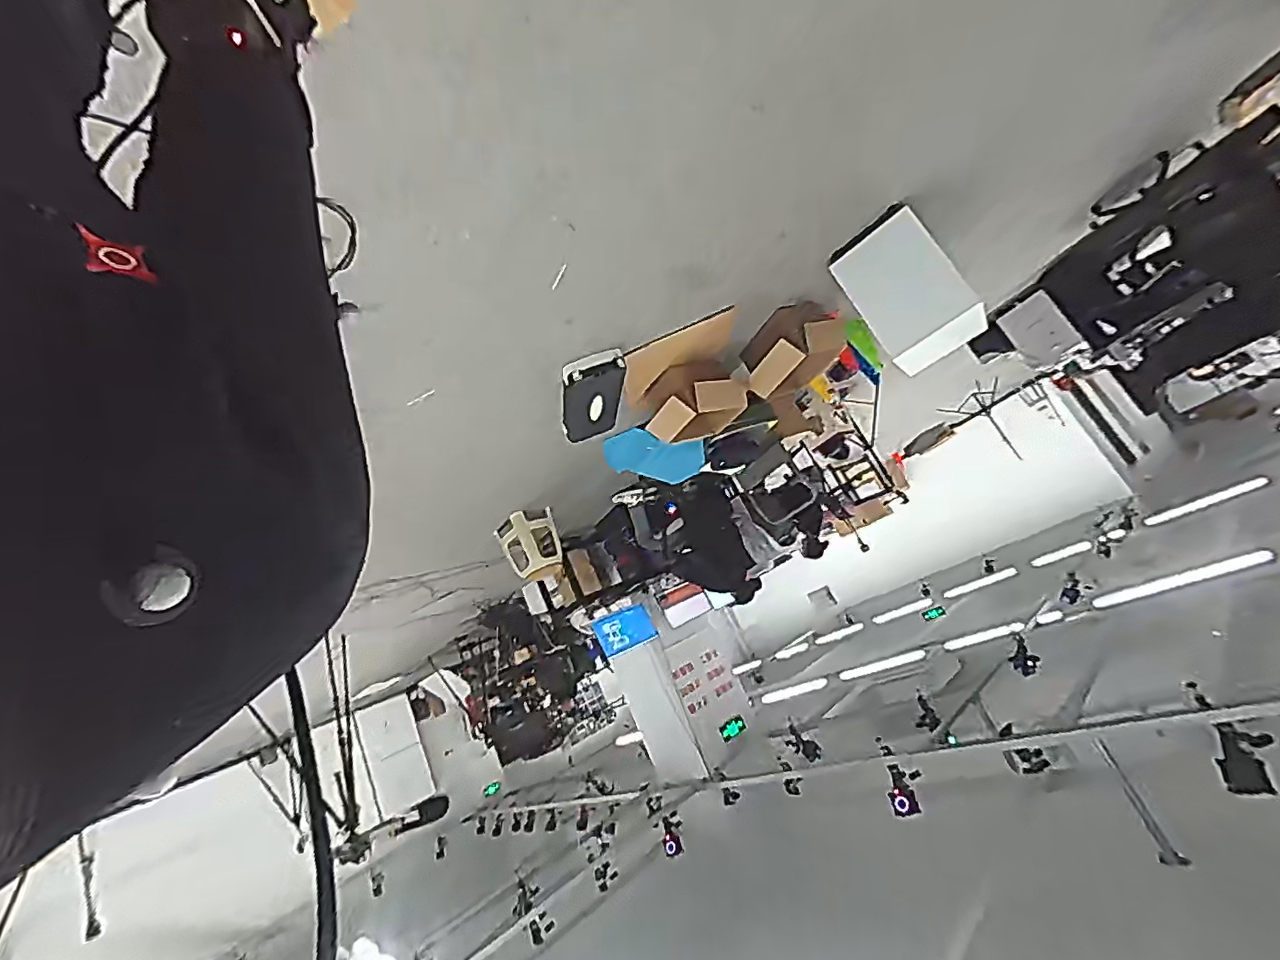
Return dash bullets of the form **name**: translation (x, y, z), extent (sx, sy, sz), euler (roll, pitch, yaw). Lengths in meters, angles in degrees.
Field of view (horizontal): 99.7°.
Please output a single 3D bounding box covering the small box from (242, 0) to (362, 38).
- **small box**: translation (-0.326, -0.537, 0.466), extent (0.168, 0.176, 0.179), euler (16, 100, -49)
